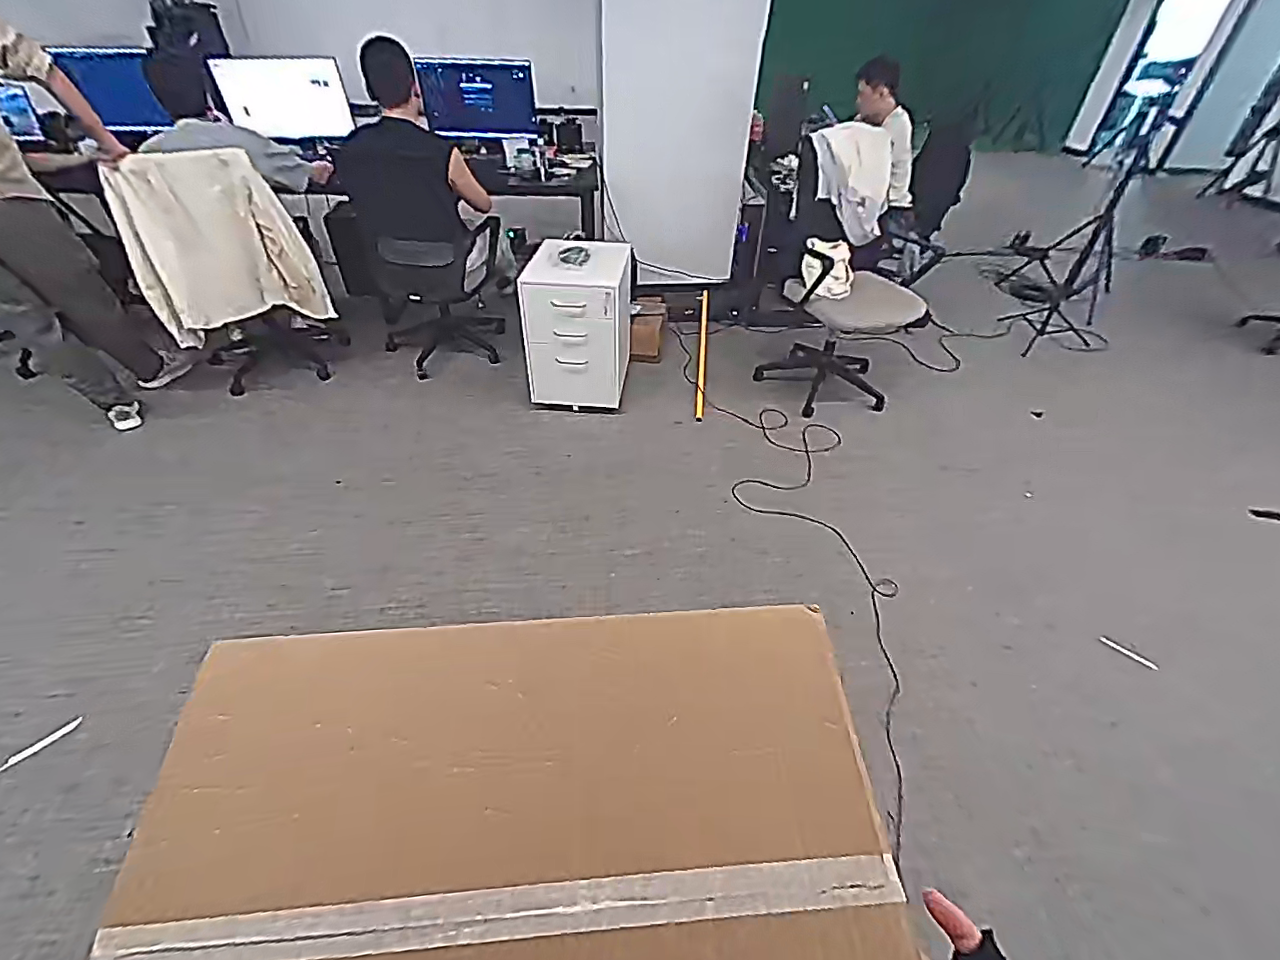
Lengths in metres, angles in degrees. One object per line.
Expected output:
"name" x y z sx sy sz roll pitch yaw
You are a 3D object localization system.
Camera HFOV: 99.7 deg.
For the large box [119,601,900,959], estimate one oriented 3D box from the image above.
"large box" -0.070 0.310 0.412 0.408 0.320 0.320 -3 55 -3
